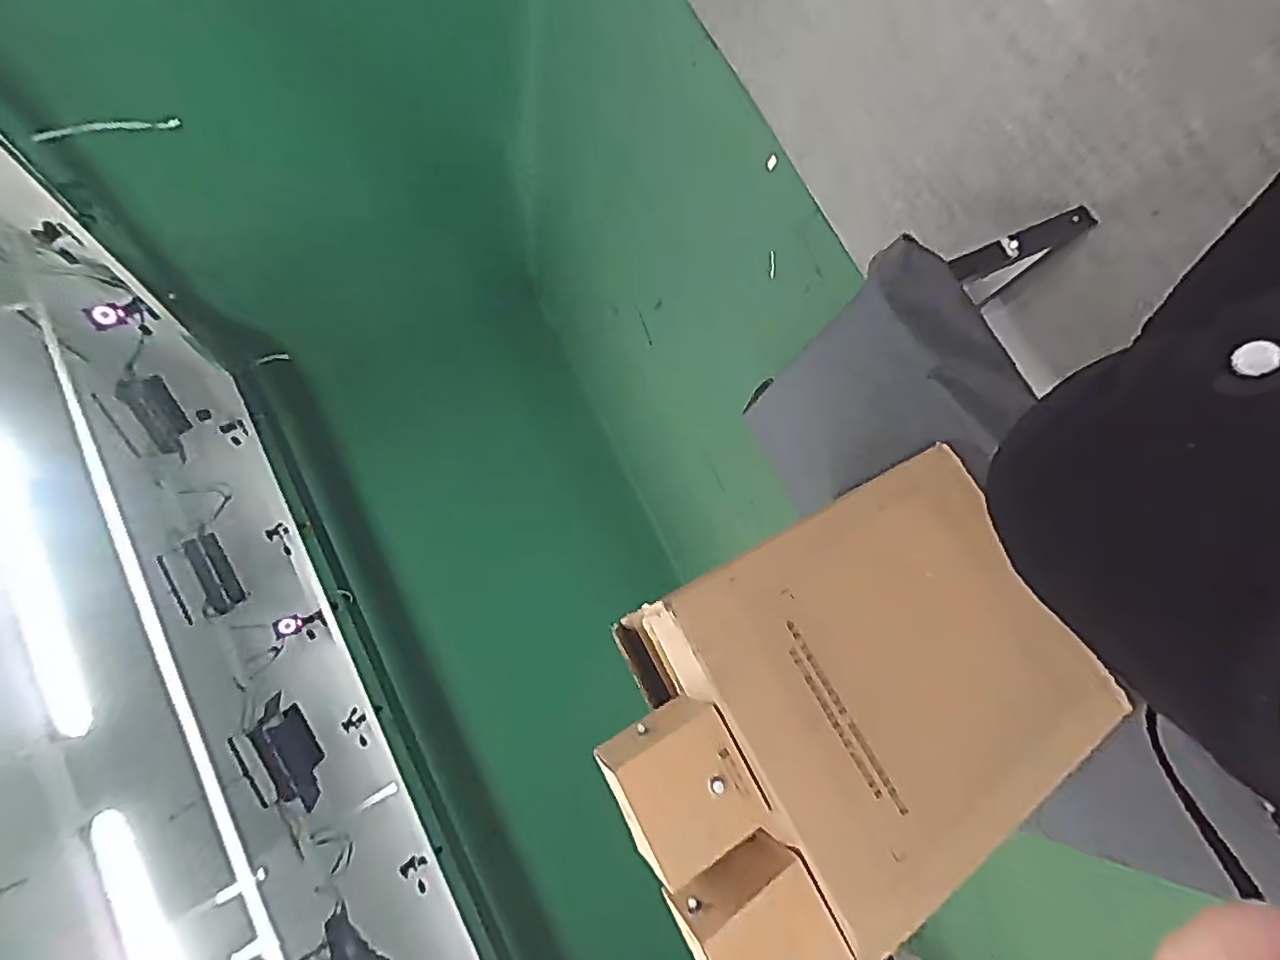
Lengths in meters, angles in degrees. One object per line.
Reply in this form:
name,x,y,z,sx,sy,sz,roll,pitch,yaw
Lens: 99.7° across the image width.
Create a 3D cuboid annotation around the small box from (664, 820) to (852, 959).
small box,0.166,0.632,0.760,0.179,0.176,0.168,61,158,6
